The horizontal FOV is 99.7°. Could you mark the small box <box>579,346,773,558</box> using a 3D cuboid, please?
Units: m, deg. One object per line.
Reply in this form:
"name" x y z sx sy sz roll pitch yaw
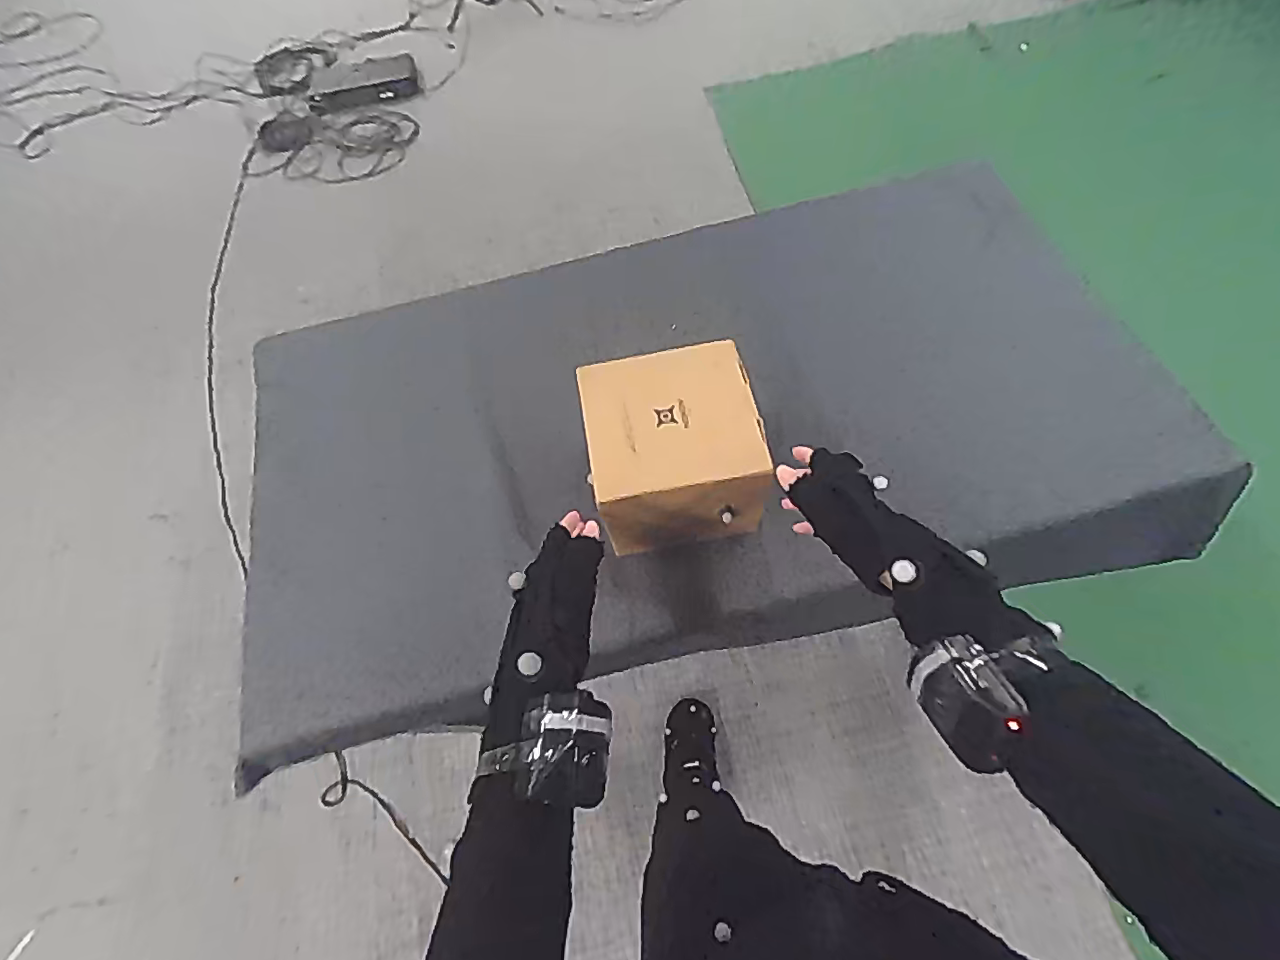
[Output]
"small box" 0.038 -0.024 0.625 0.179 0.176 0.168 -12 63 1
